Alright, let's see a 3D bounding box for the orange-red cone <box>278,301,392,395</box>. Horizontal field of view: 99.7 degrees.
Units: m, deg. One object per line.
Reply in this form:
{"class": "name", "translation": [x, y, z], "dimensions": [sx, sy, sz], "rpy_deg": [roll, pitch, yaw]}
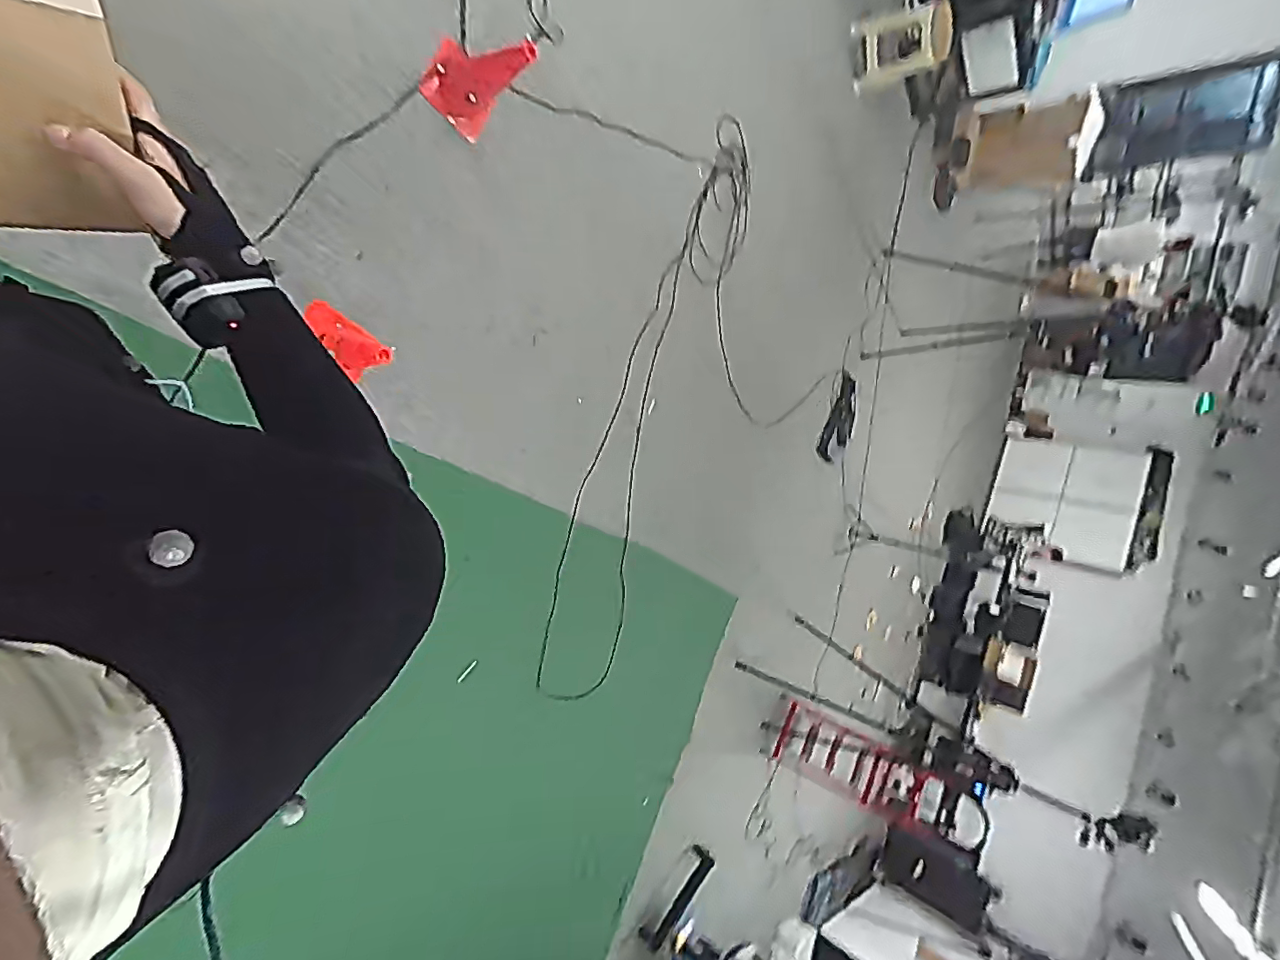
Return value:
{"class": "orange-red cone", "translation": [-0.726, -0.326, 1.377], "dimensions": [0.199, 0.360, 0.198], "rpy_deg": [41, 71, -47]}
